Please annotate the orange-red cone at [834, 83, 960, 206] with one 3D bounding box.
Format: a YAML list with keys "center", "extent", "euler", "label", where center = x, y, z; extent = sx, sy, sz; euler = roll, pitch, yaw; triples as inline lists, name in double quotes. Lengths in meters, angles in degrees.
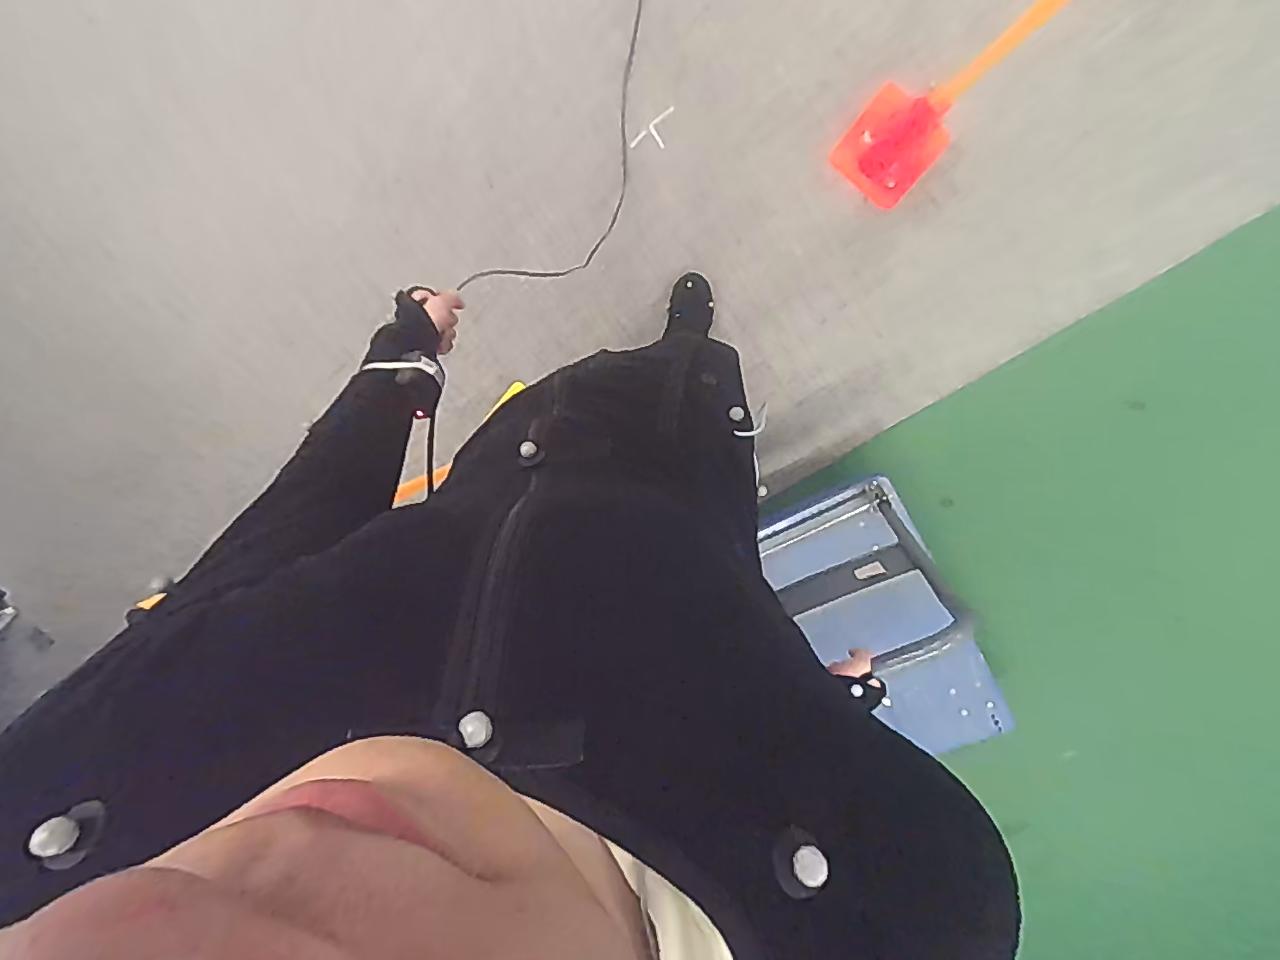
- center: [0.560, -0.722, 1.100]
  extent: [0.198, 0.360, 0.199]
  euler: [40, 110, -6]
  label: "orange-red cone"
